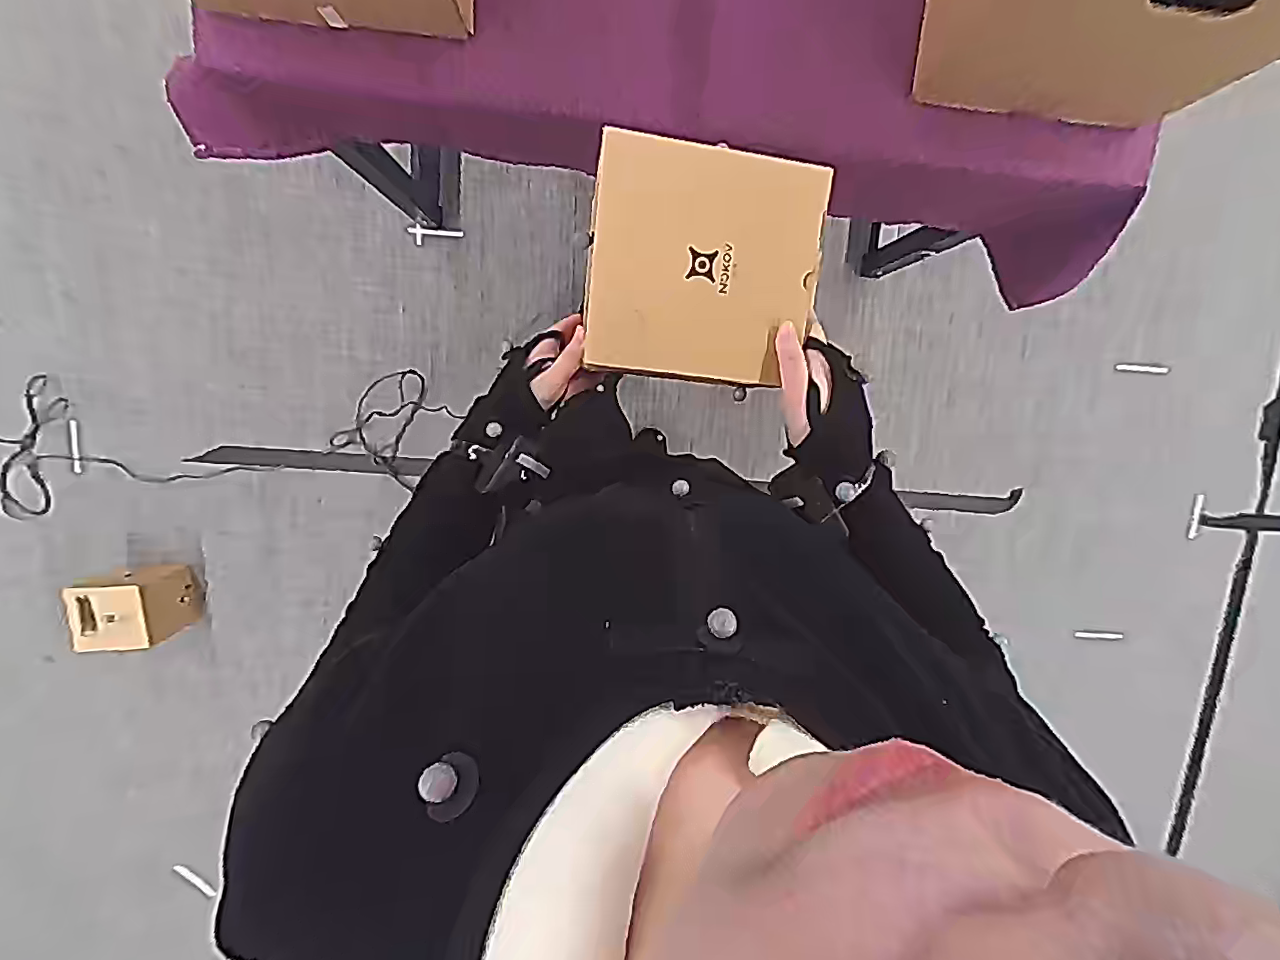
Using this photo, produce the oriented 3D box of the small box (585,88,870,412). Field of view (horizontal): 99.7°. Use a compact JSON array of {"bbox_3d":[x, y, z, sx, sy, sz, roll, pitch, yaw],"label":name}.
[{"bbox_3d":[0.063,-0.164,0.446,0.168,0.176,0.179,1,83,-27],"label":"small box"}]
